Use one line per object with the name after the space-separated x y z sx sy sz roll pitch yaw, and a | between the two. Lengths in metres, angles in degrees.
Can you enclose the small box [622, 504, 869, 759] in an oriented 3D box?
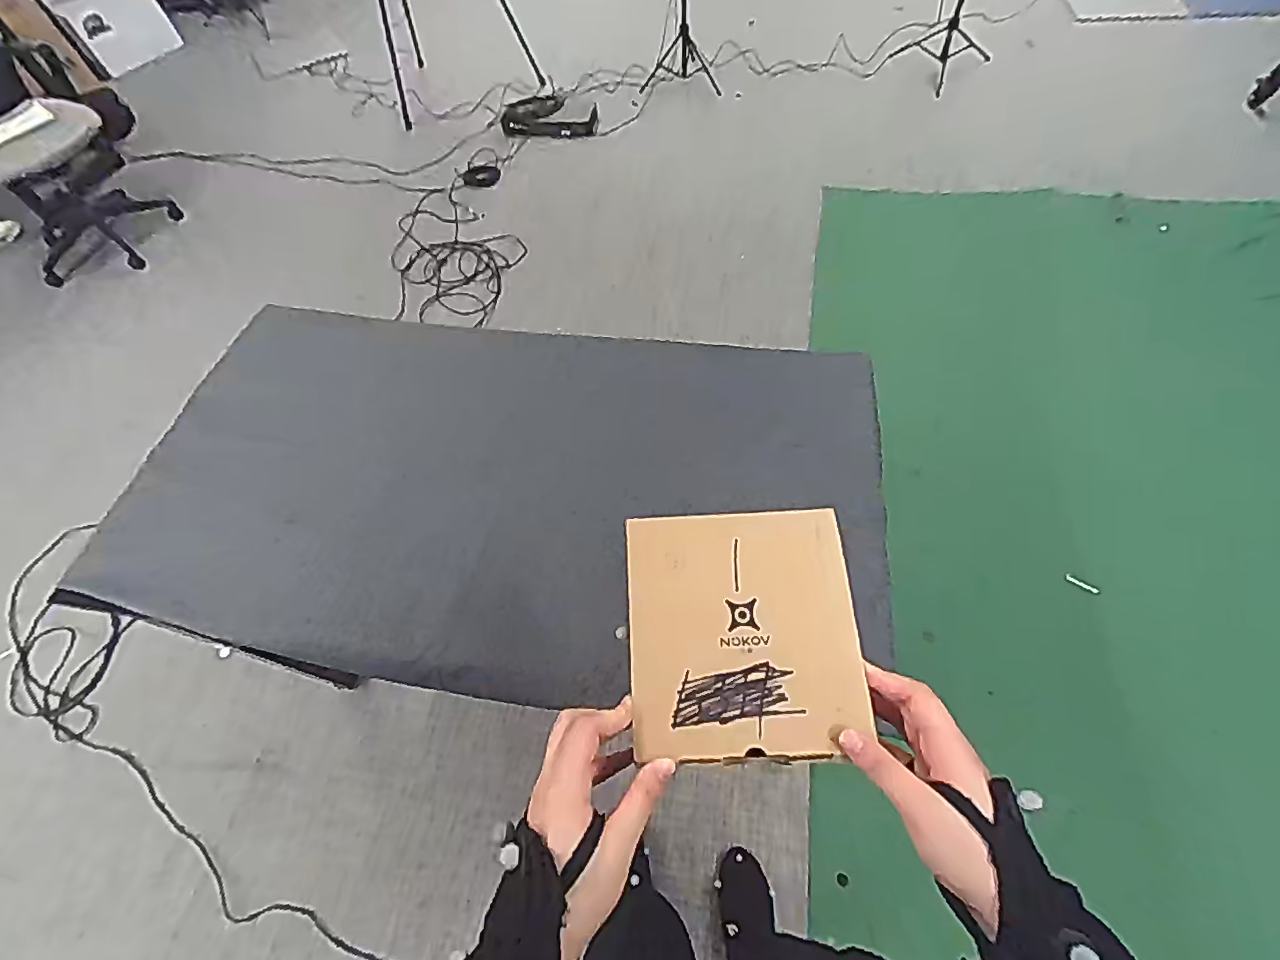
0.074 0.131 0.466 0.168 0.176 0.179 -3 68 1 | small box
